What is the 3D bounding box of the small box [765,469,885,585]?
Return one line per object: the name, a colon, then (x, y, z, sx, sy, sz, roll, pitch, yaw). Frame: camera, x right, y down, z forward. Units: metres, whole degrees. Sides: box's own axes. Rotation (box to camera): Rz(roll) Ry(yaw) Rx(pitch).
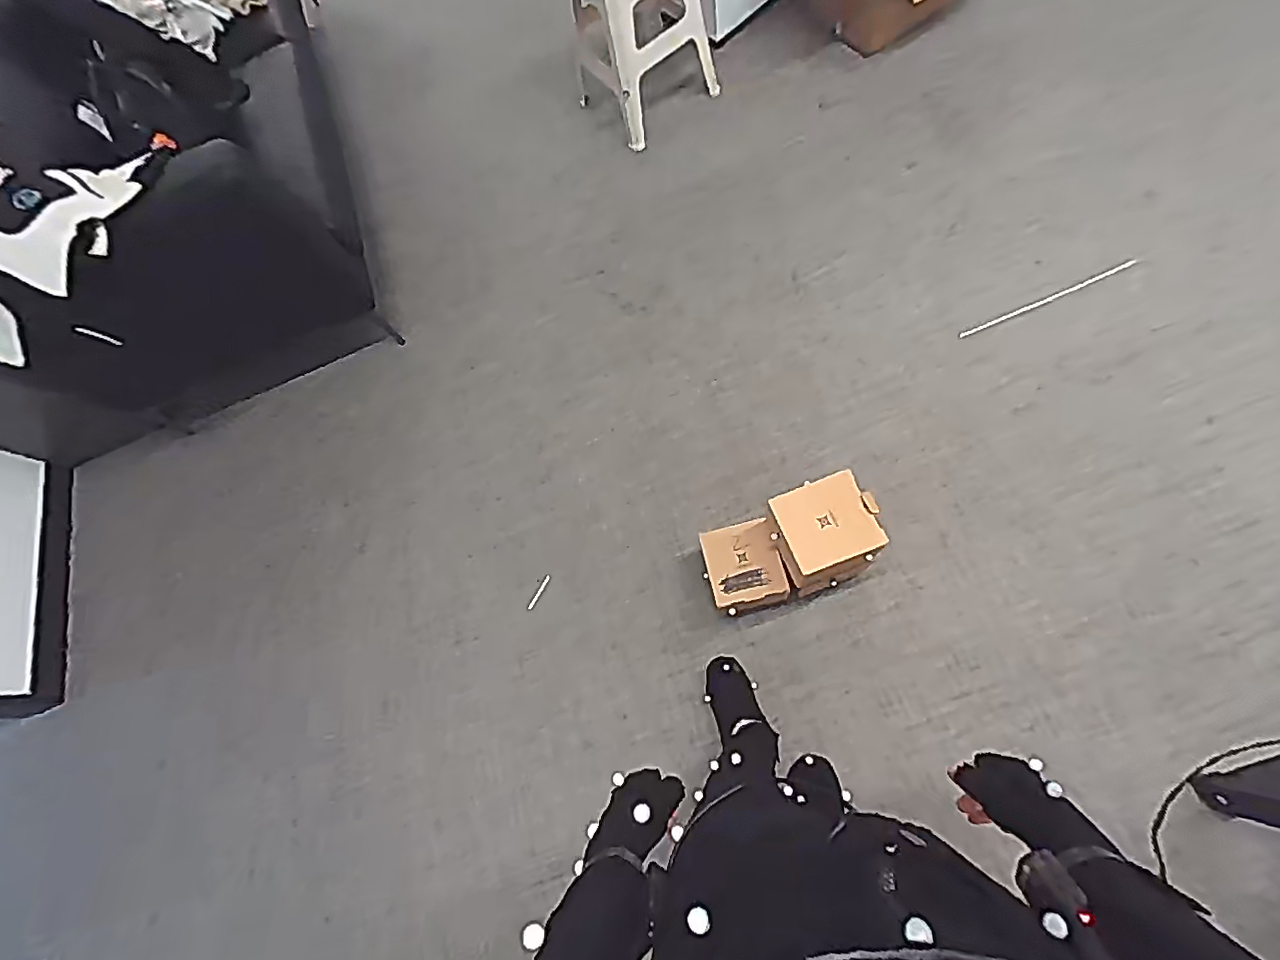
small box: (0.375, 0.106, 1.127, 0.179, 0.176, 0.168, -22, 68, 2)
